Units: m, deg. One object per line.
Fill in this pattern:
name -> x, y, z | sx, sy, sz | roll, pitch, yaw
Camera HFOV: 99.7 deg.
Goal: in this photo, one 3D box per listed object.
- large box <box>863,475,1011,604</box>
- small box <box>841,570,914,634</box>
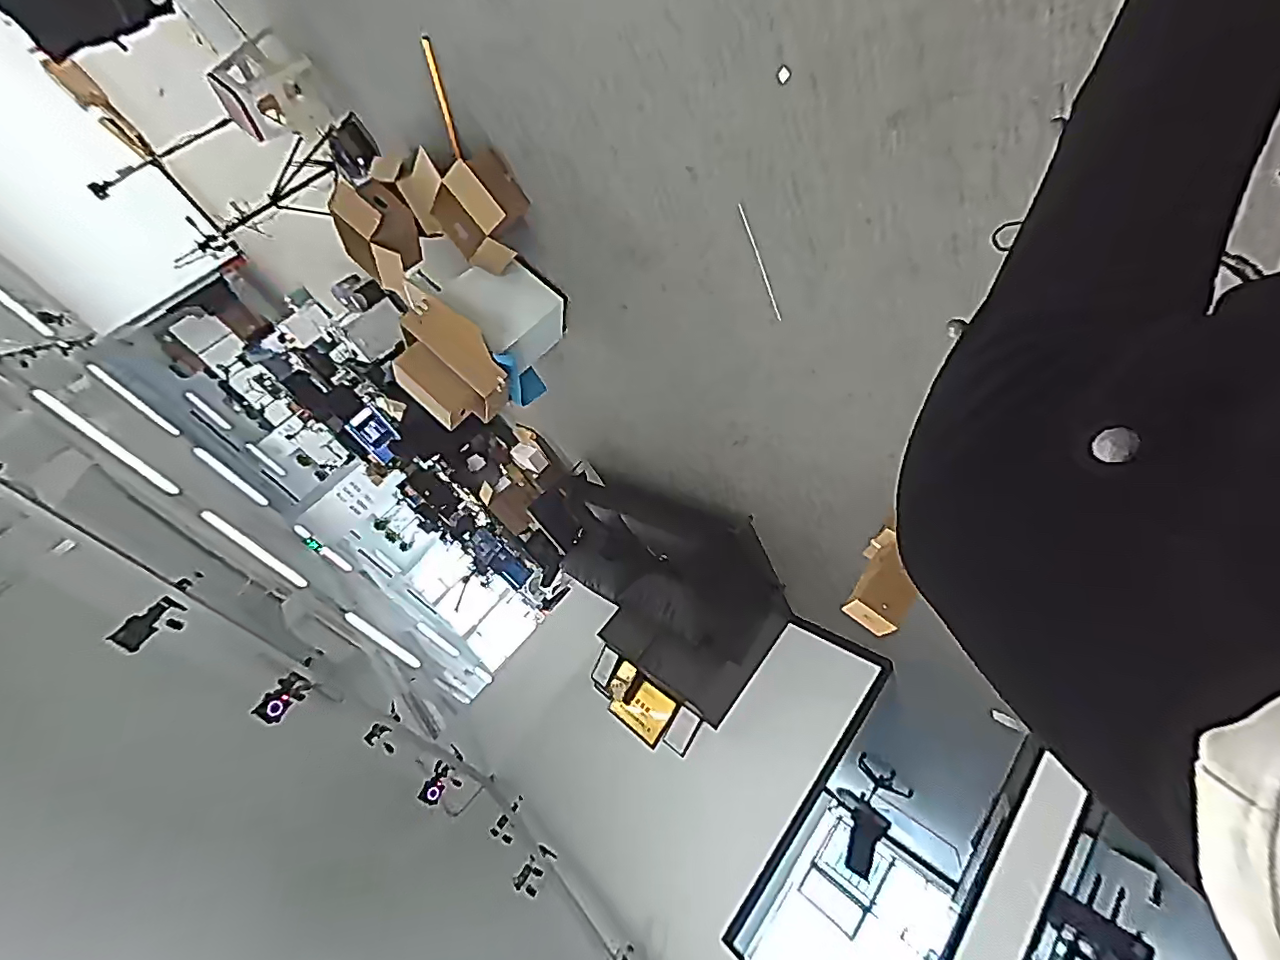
large box -> 1.242, 0.251, 2.291 | 0.408, 0.320, 0.320 | 34, 160, 18
small box -> 0.931, 0.472, 2.120 | 0.179, 0.176, 0.168 | 35, 158, 15
